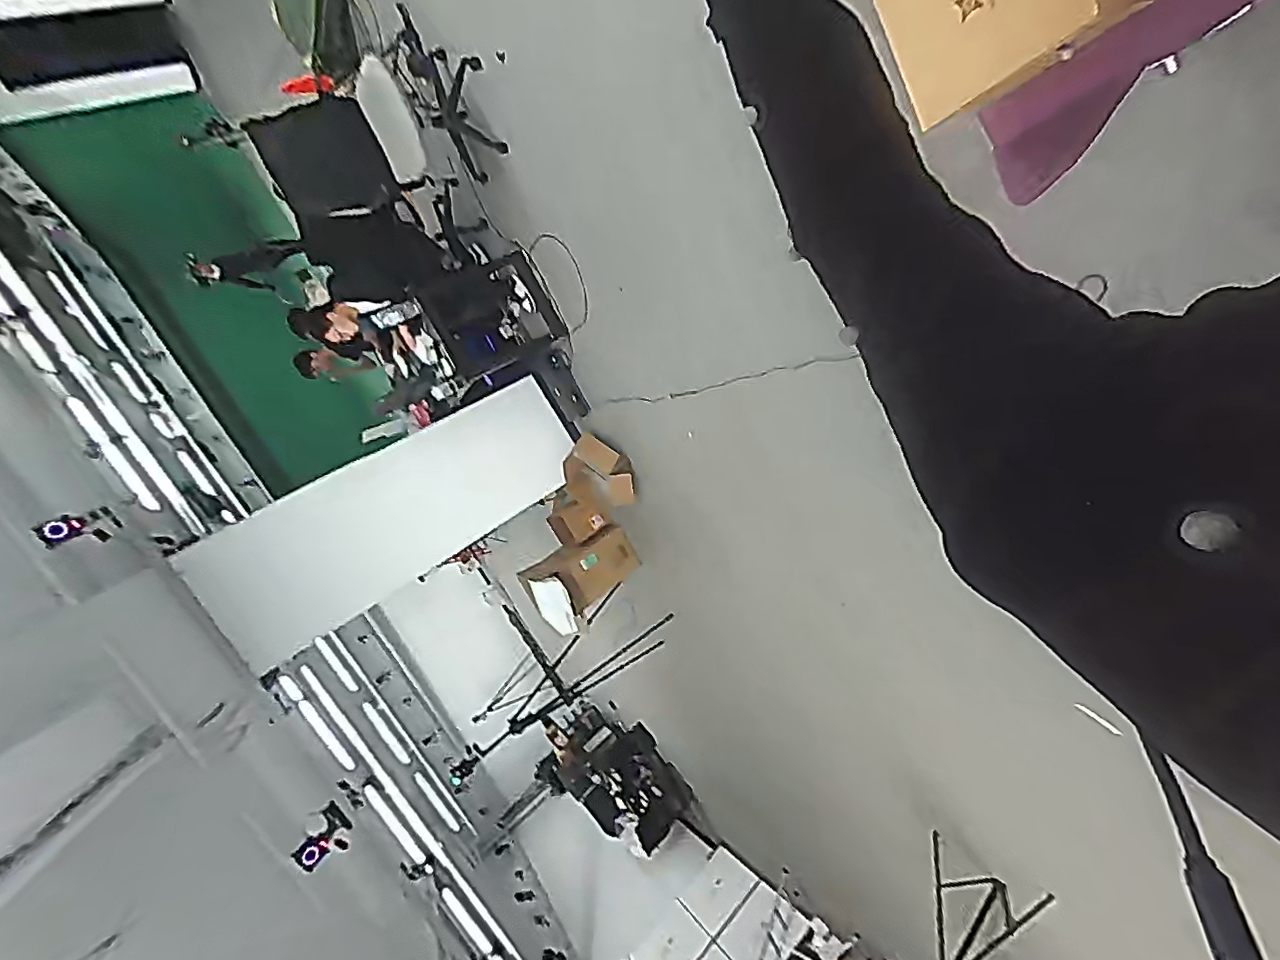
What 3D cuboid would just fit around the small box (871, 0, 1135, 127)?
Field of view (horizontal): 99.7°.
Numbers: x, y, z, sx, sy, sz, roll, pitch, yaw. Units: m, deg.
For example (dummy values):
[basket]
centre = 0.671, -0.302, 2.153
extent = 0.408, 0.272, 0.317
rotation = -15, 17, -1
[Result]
[small box]
centre = 0.392, -0.527, 0.582
extent = 0.179, 0.176, 0.168
rotation = -9, 113, 61
